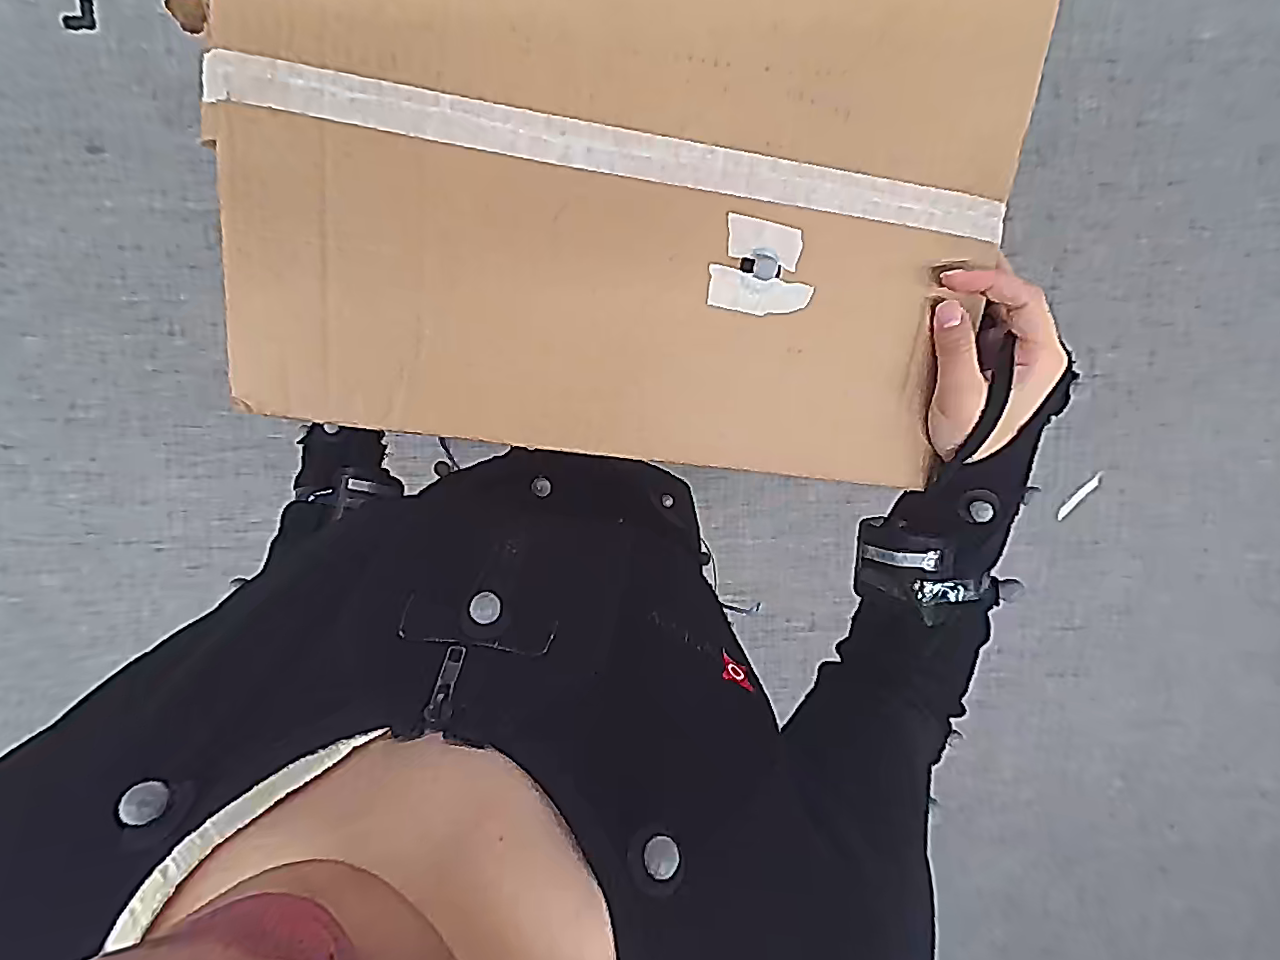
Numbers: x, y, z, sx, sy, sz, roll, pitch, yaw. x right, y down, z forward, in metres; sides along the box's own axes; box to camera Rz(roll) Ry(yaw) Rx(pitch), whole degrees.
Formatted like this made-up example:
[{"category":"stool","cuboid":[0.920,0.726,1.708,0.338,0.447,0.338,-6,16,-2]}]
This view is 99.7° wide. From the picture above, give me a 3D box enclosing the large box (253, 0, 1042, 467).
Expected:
[{"category":"large box","cuboid":[-0.011,-0.206,0.431,0.408,0.320,0.320,6,103,-10]}]
